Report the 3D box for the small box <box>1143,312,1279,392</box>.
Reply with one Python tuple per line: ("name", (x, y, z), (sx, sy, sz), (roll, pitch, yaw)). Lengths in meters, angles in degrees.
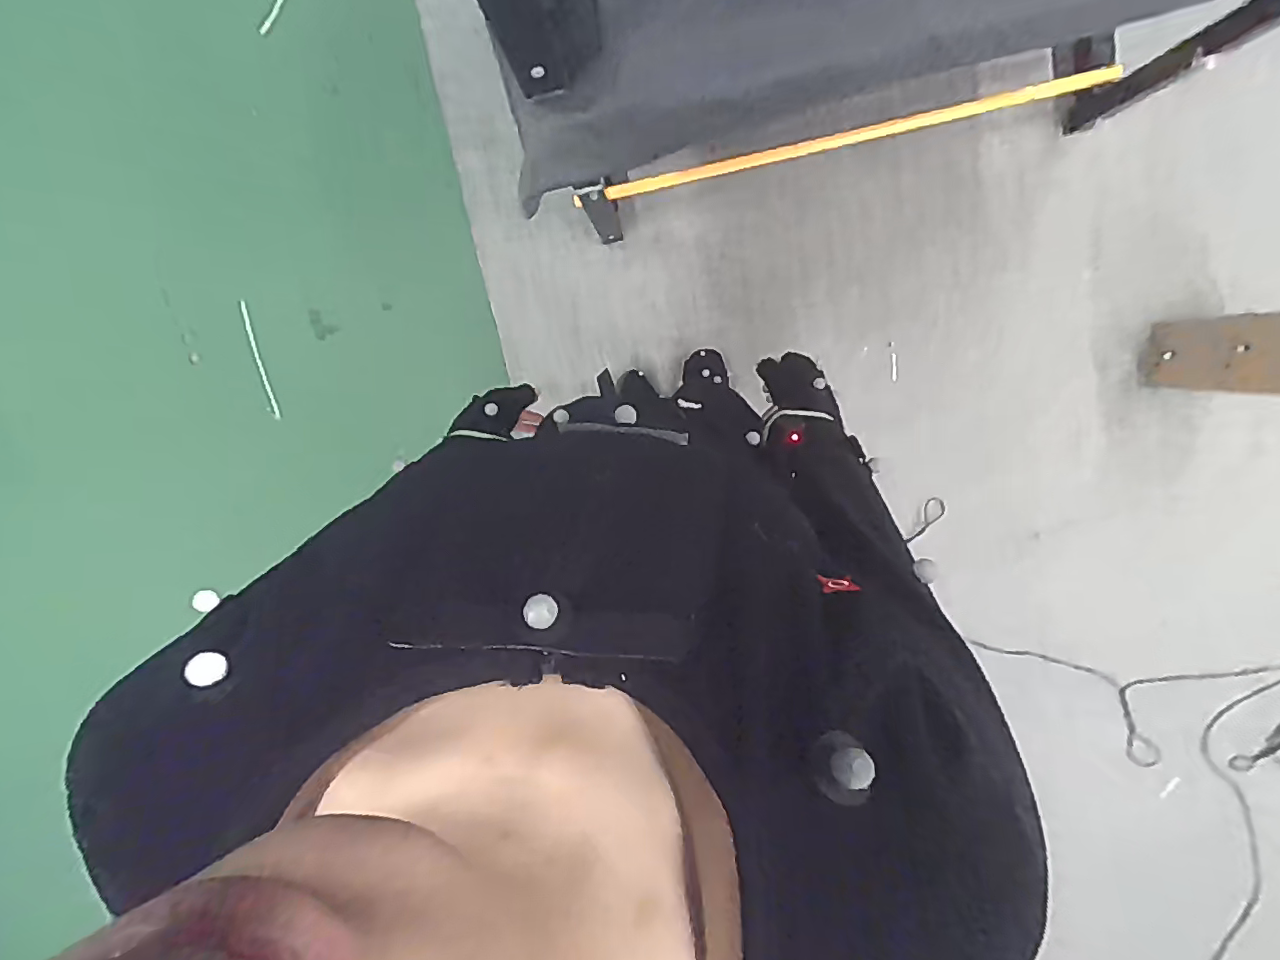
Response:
("small box", (1.360, -0.301, 1.278), (0.179, 0.176, 0.168), (-5, 101, 4))
